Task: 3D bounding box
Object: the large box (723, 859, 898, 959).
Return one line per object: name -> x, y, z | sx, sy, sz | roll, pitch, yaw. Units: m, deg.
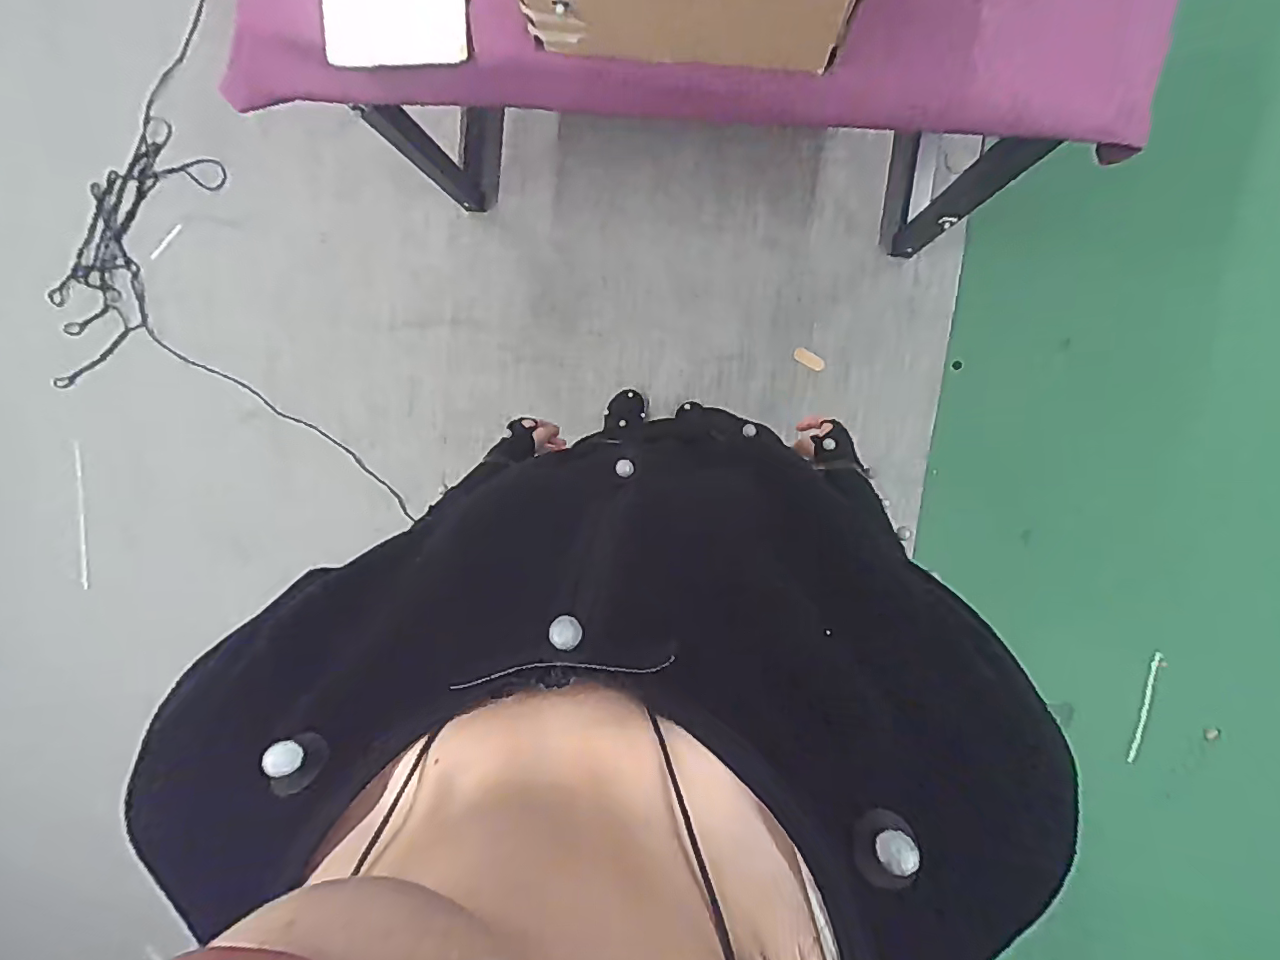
large box -> 0.456, 1.302, 1.472 | 0.408, 0.320, 0.320 | -8, 97, 6
